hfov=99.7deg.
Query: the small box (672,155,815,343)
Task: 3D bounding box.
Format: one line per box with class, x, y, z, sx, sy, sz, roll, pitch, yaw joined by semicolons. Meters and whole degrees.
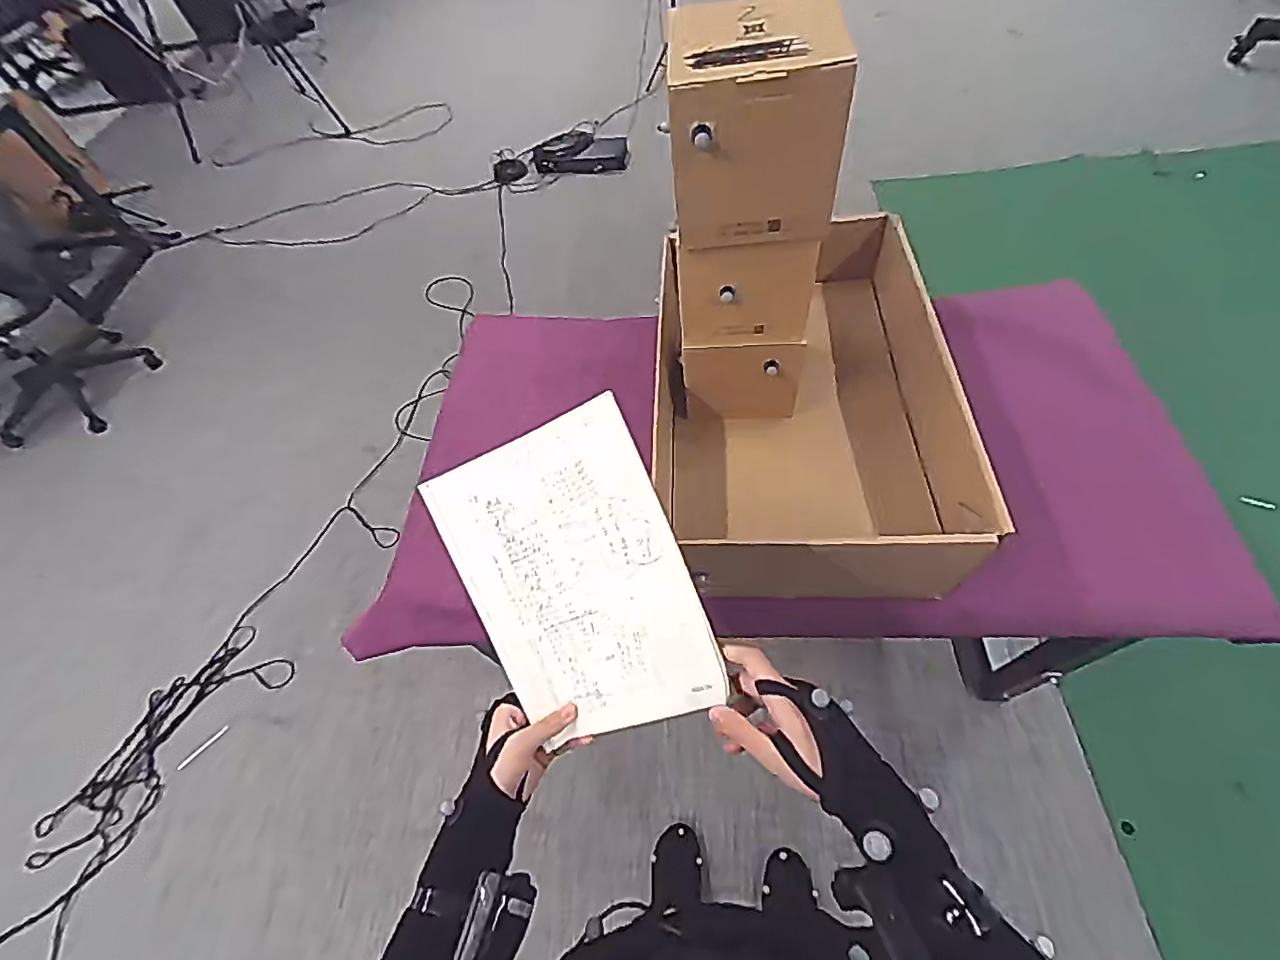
small box;0.137;-0.300;0.730;0.168;0.176;0.179;-1;58;9
